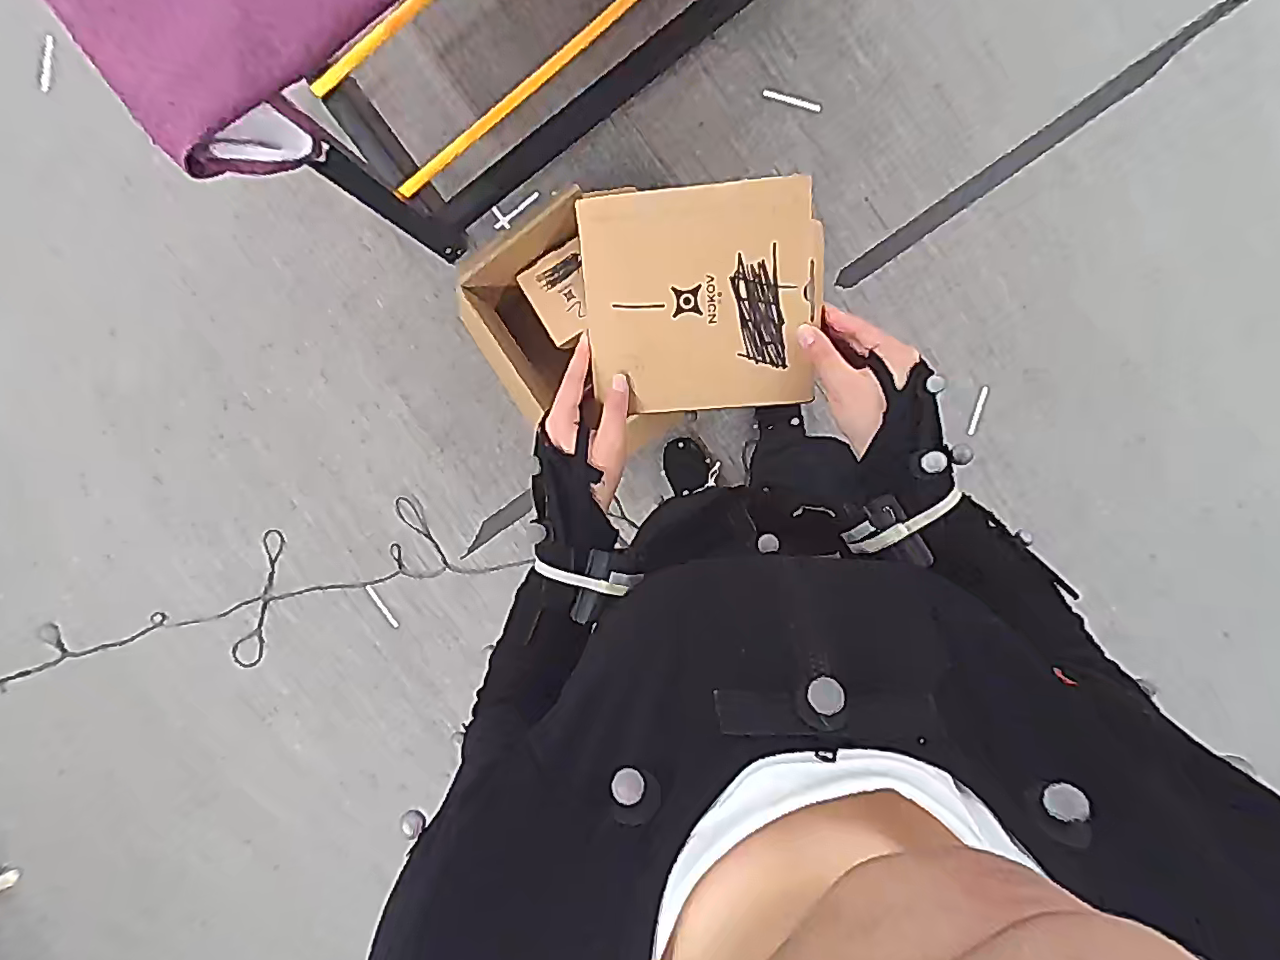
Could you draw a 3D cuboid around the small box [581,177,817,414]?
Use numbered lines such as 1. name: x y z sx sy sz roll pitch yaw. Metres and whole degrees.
1. small box: 0.051 -0.152 0.490 0.179 0.176 0.168 -3 101 5
